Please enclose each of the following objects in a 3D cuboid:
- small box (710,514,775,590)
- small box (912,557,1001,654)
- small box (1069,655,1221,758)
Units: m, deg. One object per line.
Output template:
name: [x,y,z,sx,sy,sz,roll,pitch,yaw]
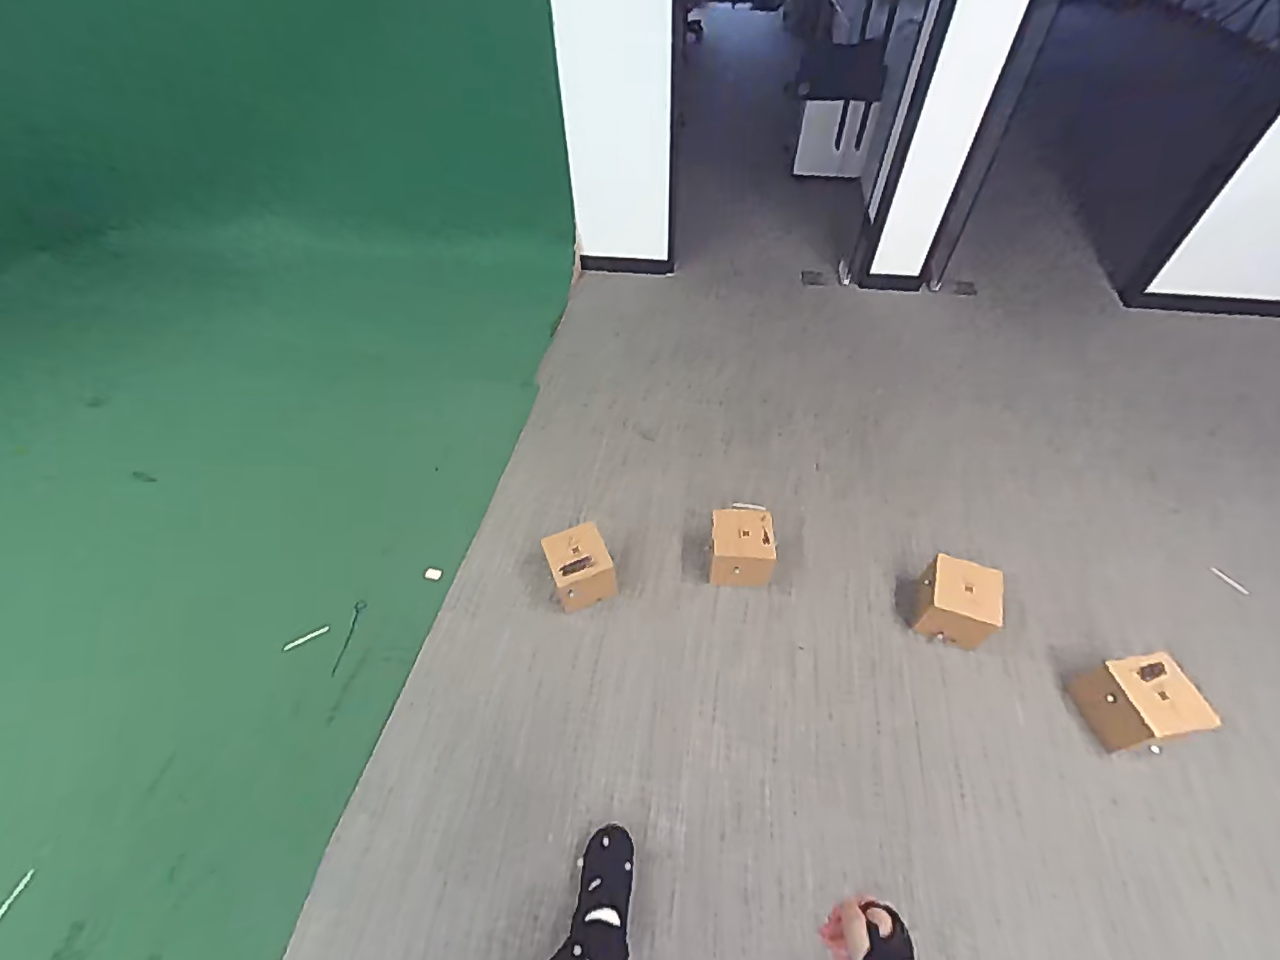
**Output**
small box: [0.299,0.219,1.620,0.179,0.176,0.168,1,50,4]
small box: [0.871,0.349,1.495,0.168,0.176,0.179,17,53,16]
small box: [1.207,0.551,1.313,0.168,0.176,0.179,-8,50,-4]
